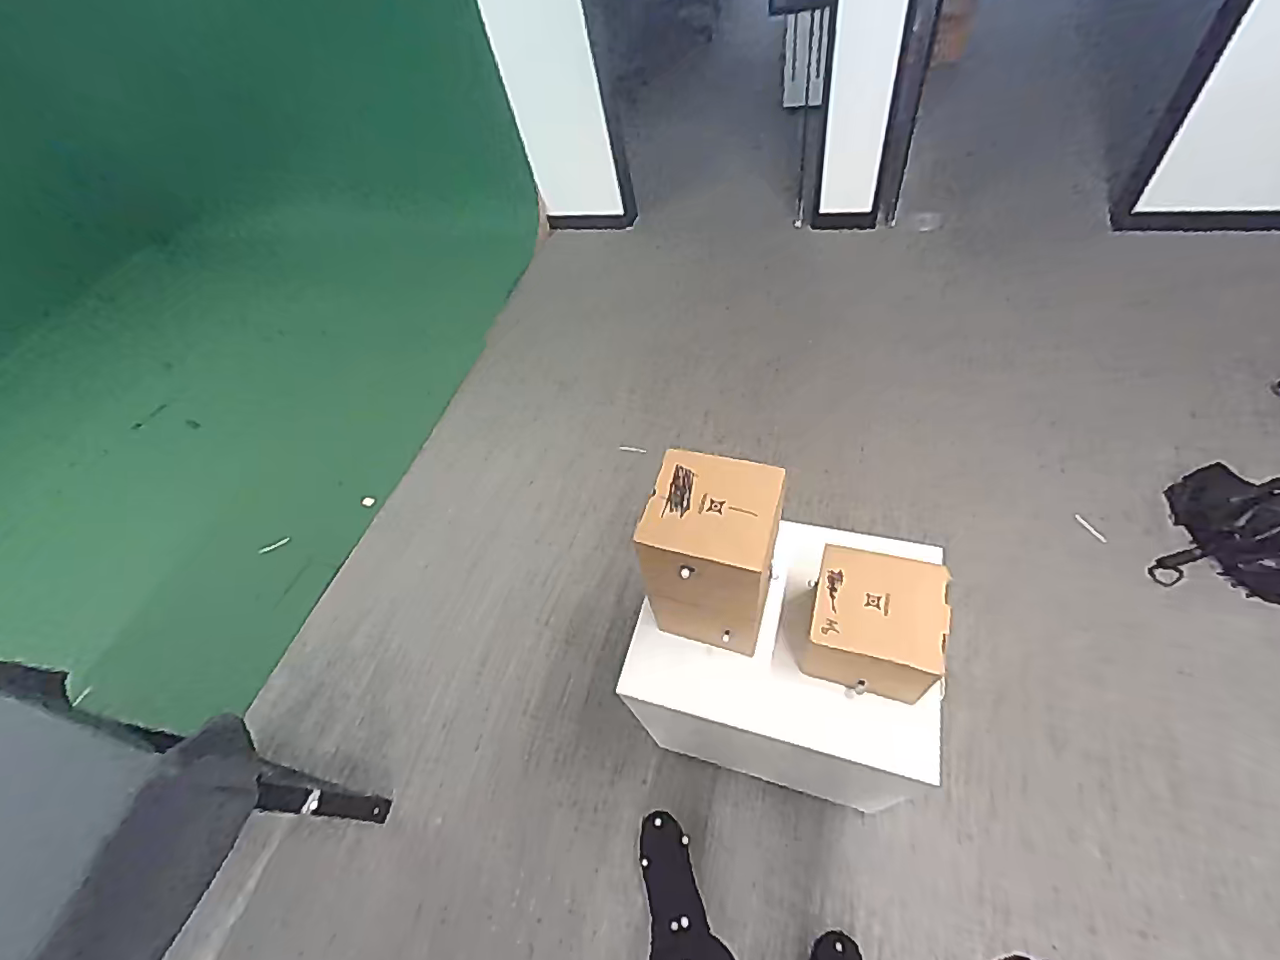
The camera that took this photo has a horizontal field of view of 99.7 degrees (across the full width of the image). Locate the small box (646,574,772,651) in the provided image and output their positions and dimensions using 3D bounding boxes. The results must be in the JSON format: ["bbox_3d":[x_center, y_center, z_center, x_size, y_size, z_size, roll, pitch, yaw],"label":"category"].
[{"bbox_3d":[0.127,0.175,0.921,0.179,0.176,0.168,11,57,18],"label":"small box"}]

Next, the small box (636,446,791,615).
[{"bbox_3d":[0.110,0.078,0.789,0.179,0.176,0.168,13,58,16],"label":"small box"}]

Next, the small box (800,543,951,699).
[{"bbox_3d":[0.359,0.224,0.841,0.179,0.176,0.168,12,58,17],"label":"small box"}]
